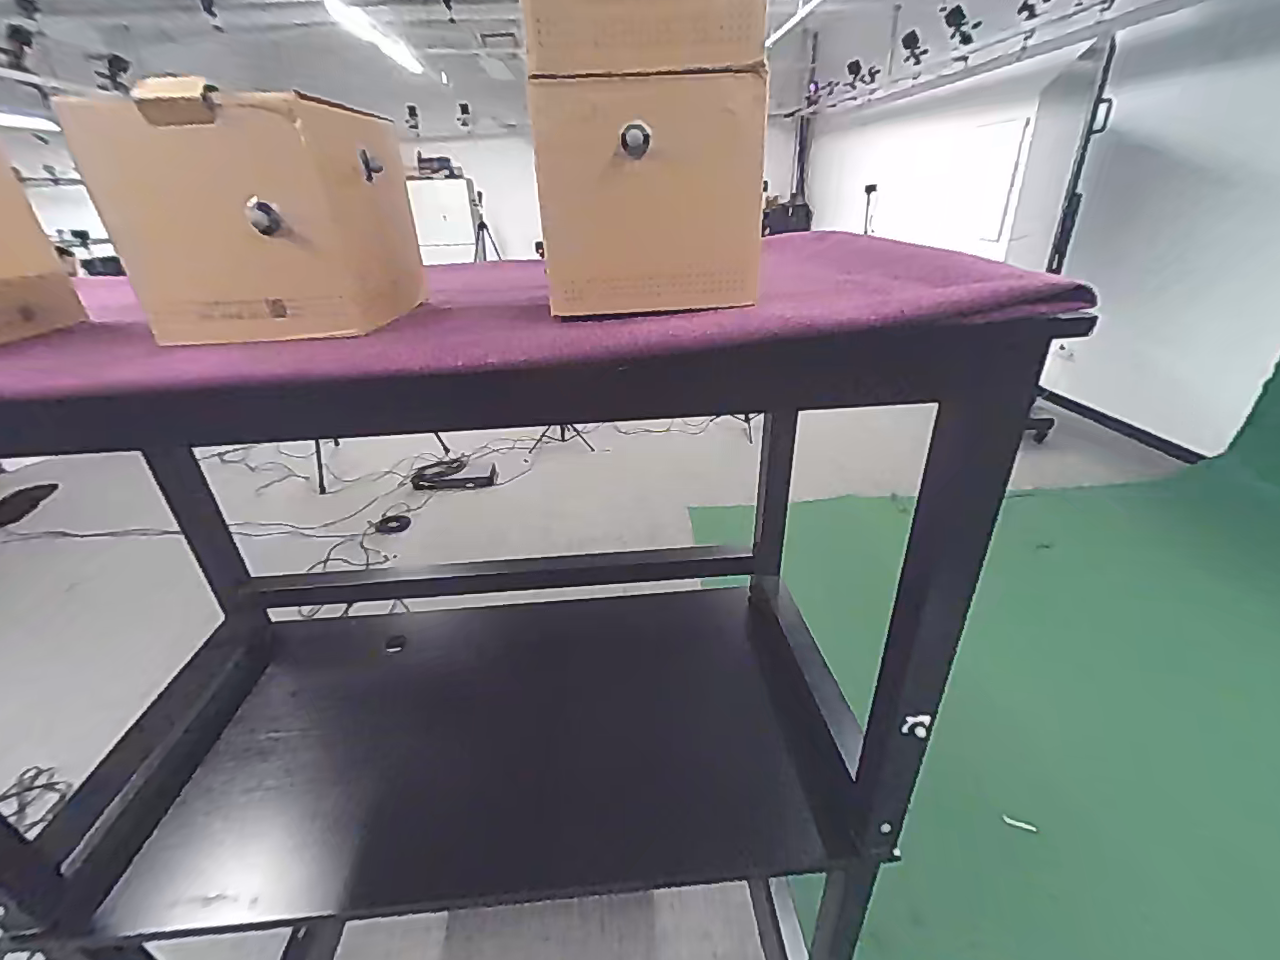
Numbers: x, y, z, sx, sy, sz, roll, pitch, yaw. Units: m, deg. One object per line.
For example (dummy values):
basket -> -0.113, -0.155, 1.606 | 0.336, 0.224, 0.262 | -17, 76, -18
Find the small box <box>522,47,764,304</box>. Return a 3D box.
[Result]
small box -> 0.002, -0.255, 0.483 | 0.179, 0.176, 0.168 | -4, 26, -3

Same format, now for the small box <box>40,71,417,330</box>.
small box -> -0.309, -0.227, 0.461 | 0.168, 0.176, 0.179 | -2, 27, -2

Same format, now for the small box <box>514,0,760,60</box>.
small box -> -0.007, -0.403, 0.417 | 0.179, 0.176, 0.168 | -4, 26, -3
